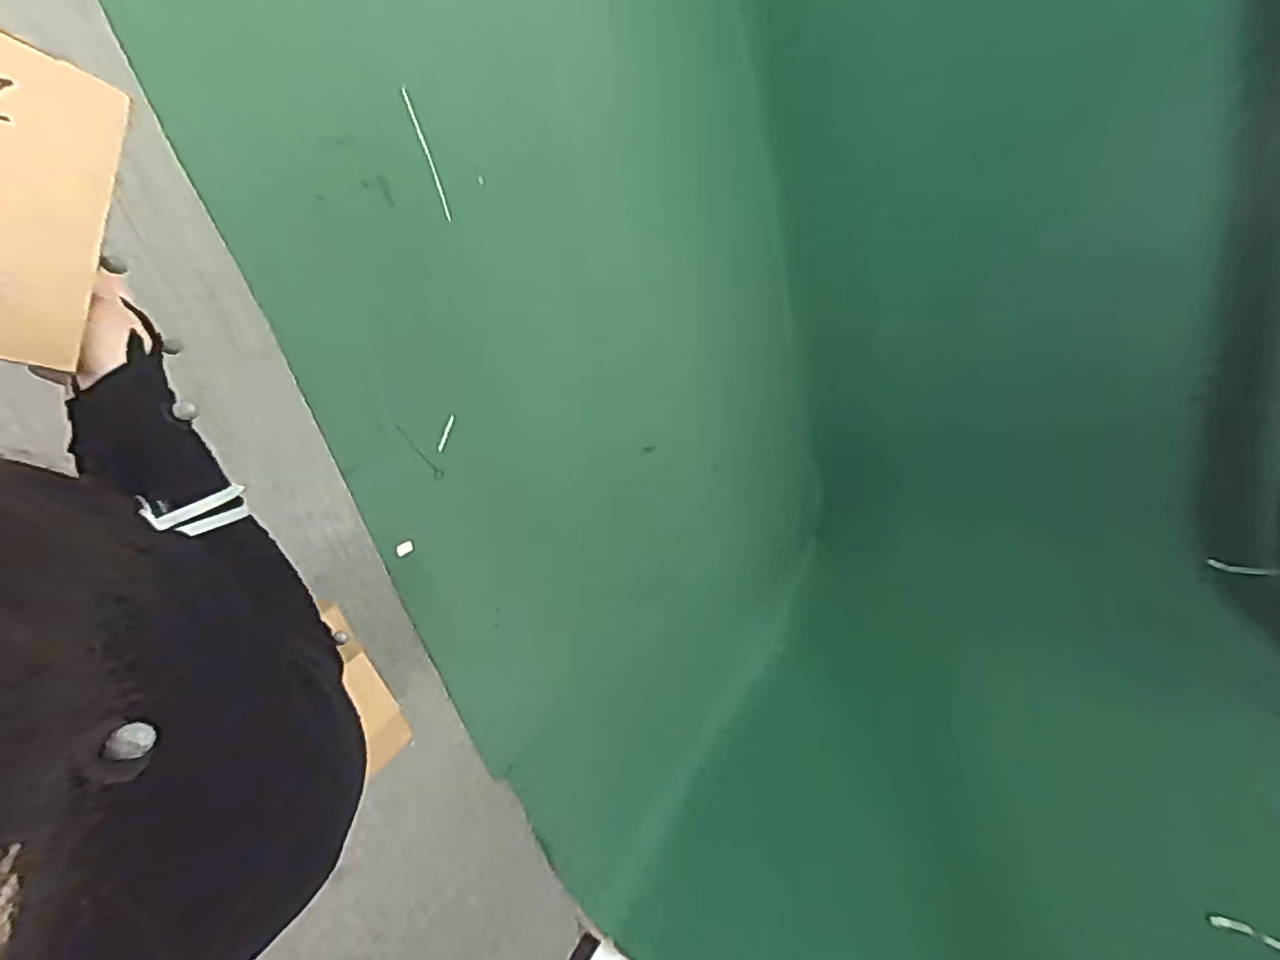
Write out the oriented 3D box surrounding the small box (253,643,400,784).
[{"bbox_3d":[-0.627,0.454,1.075,0.179,0.176,0.168,-43,123,-45],"label":"small box"}]
